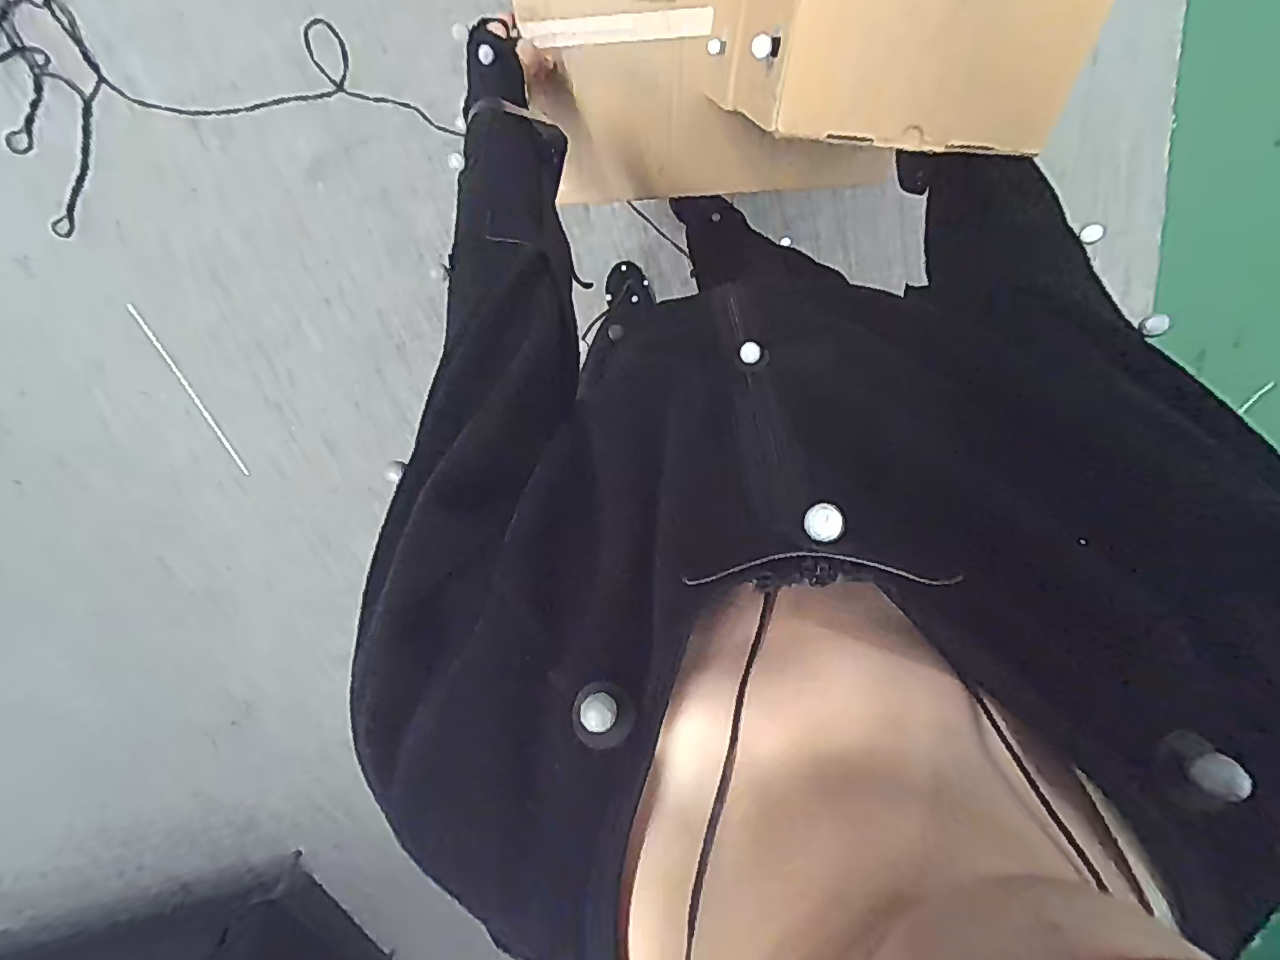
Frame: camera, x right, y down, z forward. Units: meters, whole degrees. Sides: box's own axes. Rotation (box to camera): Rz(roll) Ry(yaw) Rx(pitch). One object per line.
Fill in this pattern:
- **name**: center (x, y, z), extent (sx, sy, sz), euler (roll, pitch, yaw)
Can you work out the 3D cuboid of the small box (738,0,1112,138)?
- **small box**: center (0.162, -0.322, 0.321), extent (0.168, 0.176, 0.179), euler (2, 130, -3)
